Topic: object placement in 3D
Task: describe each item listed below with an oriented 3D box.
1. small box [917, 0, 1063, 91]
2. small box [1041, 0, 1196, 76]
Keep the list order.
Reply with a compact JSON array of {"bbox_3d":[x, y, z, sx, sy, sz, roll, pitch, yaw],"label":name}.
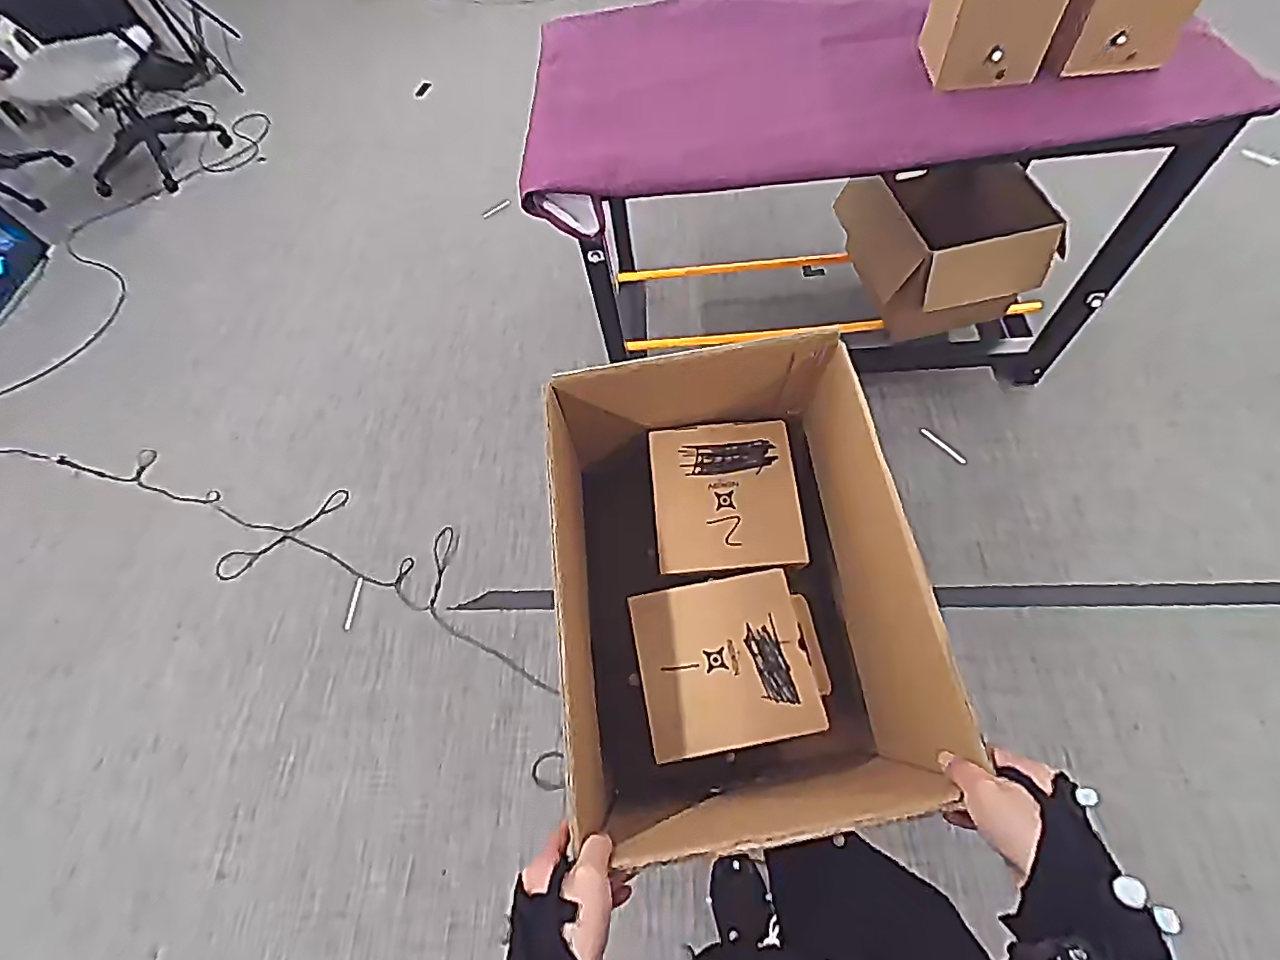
[{"bbox_3d":[0.610,-0.824,0.953,0.168,0.176,0.179,0,61,8],"label":"small box"},{"bbox_3d":[0.819,-0.834,0.929,0.168,0.176,0.179,0,61,9],"label":"small box"}]
